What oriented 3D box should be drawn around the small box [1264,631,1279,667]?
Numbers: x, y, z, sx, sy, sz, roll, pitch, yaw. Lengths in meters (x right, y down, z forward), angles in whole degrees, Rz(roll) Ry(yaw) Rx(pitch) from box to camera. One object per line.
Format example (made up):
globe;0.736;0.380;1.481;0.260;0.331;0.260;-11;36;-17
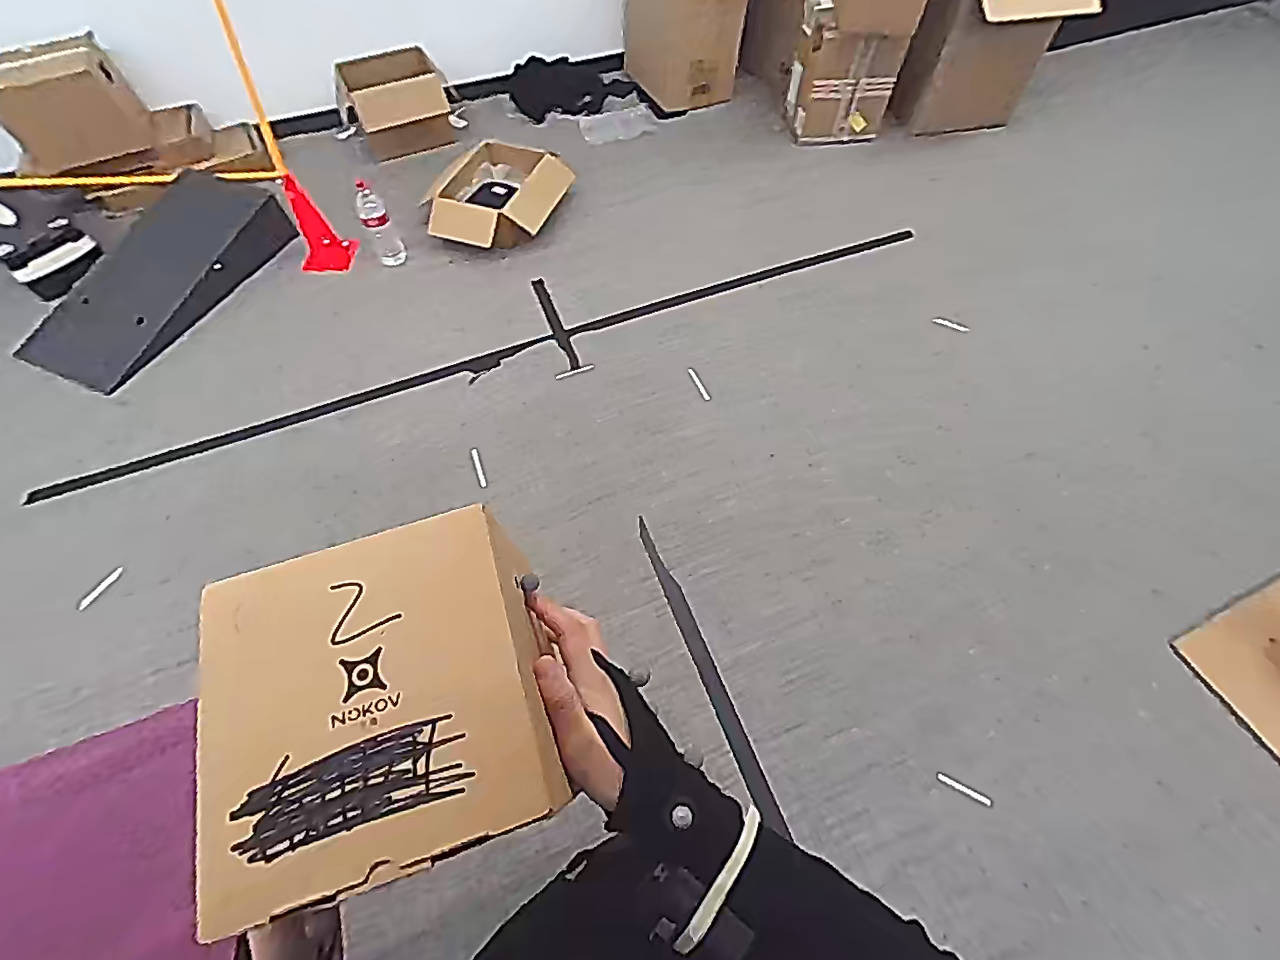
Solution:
small box;1.723;0.430;1.327;0.179;0.176;0.168;-20;62;-12
